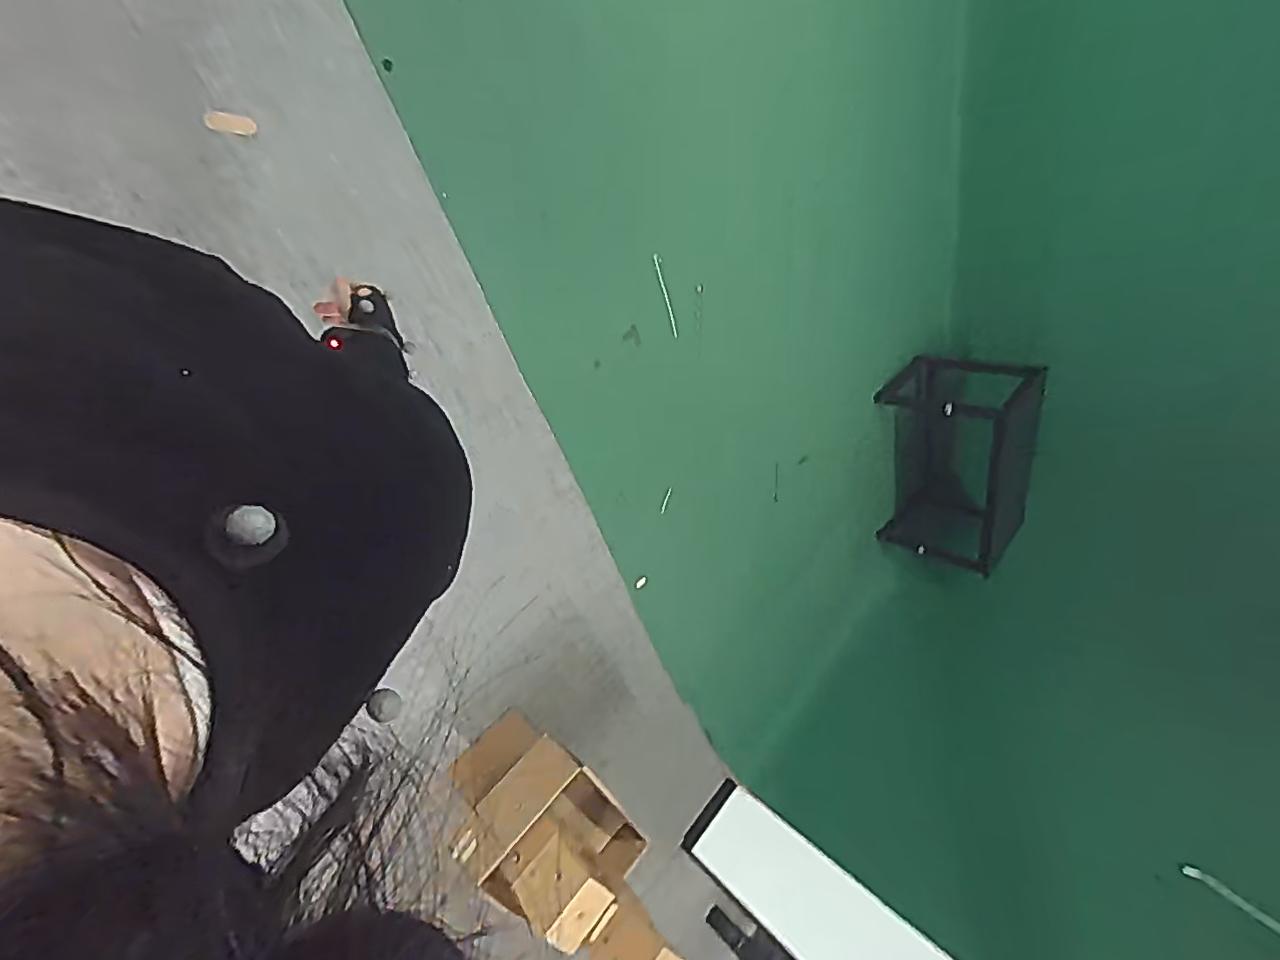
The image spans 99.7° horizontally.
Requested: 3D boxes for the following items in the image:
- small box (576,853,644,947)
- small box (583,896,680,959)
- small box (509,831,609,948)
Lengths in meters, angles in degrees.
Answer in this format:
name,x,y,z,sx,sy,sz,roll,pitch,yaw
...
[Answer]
name,x,y,z,sx,sy,sz,roll,pitch,yaw
small box,-0.127,1.251,1.597,0.168,0.176,0.179,-47,129,-22
small box,-0.026,1.291,1.476,0.168,0.176,0.179,-44,127,-23
small box,-0.221,1.090,1.450,0.168,0.176,0.179,-44,130,-24
